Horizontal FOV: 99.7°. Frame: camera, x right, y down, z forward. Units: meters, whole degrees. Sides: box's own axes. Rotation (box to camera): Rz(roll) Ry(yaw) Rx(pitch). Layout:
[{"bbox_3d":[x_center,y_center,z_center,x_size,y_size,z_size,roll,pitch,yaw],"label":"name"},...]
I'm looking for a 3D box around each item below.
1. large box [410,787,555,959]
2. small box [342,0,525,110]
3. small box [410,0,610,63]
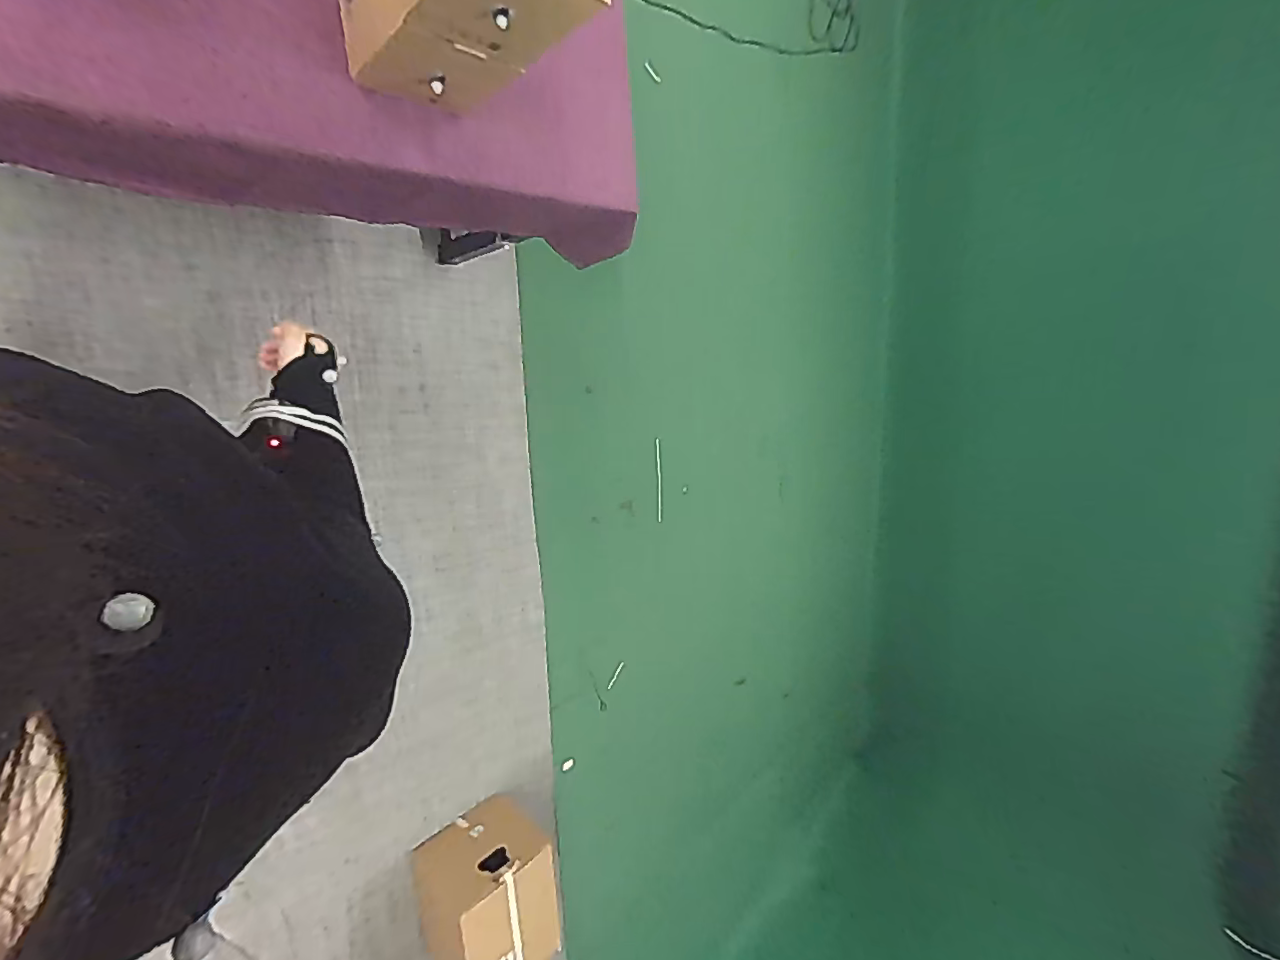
[{"bbox_3d":[-0.501,1.308,1.737,0.320,0.320,0.408,-15,109,-45],"label":"large box"},{"bbox_3d":[-0.269,-0.616,0.697,0.168,0.176,0.179,-16,108,-45],"label":"small box"},{"bbox_3d":[-0.152,-0.598,0.582,0.168,0.176,0.179,-16,107,-45],"label":"small box"}]
